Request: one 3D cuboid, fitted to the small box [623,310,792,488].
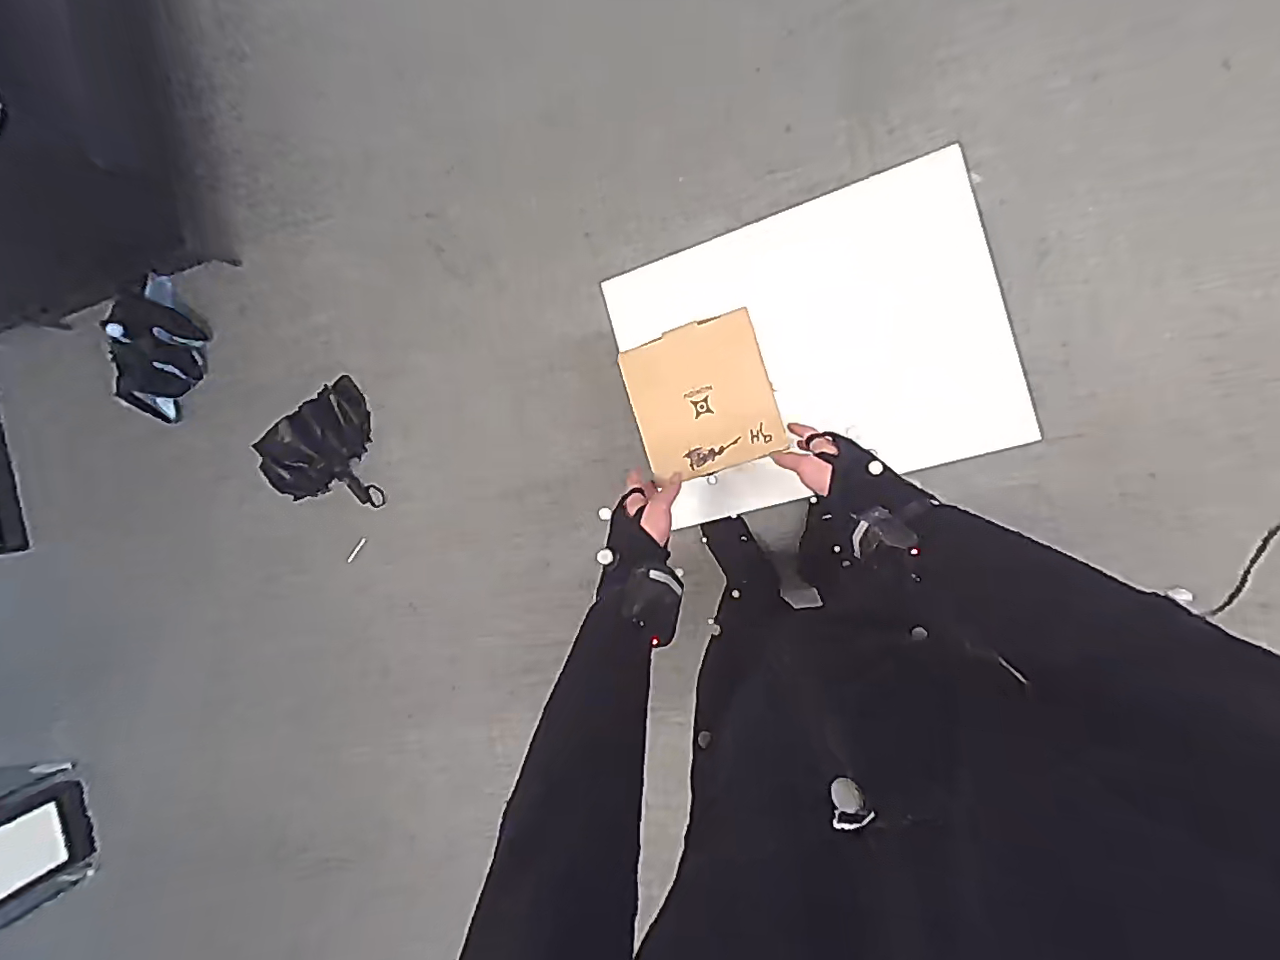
[{"bbox_3d":[0.096,-0.097,0.719,0.168,0.176,0.179,-17,89,16],"label":"small box"}]
